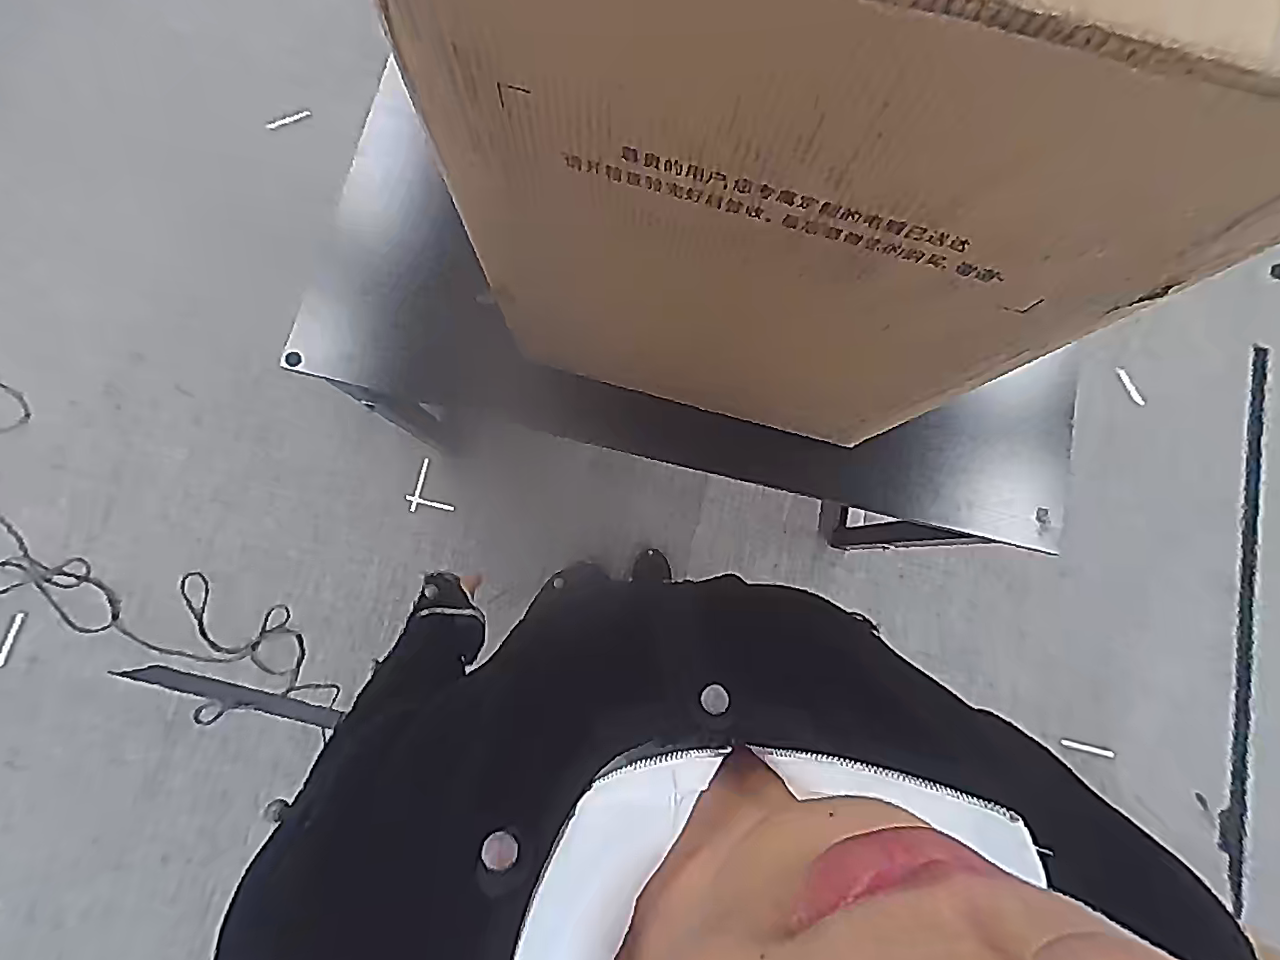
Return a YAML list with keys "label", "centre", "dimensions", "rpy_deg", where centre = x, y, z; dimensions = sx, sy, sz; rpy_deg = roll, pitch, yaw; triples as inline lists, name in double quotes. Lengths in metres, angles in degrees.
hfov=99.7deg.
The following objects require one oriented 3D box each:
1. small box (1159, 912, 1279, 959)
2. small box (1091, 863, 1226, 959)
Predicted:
- label: "small box"
  centre: [1.257, 1.060, 1.147]
  dimensions: [0.179, 0.176, 0.168]
  rpy_deg: [6, 81, -2]
- label: "small box"
  centre: [1.251, 1.065, 1.312]
  dimensions: [0.179, 0.176, 0.168]
  rpy_deg: [7, 81, -1]
